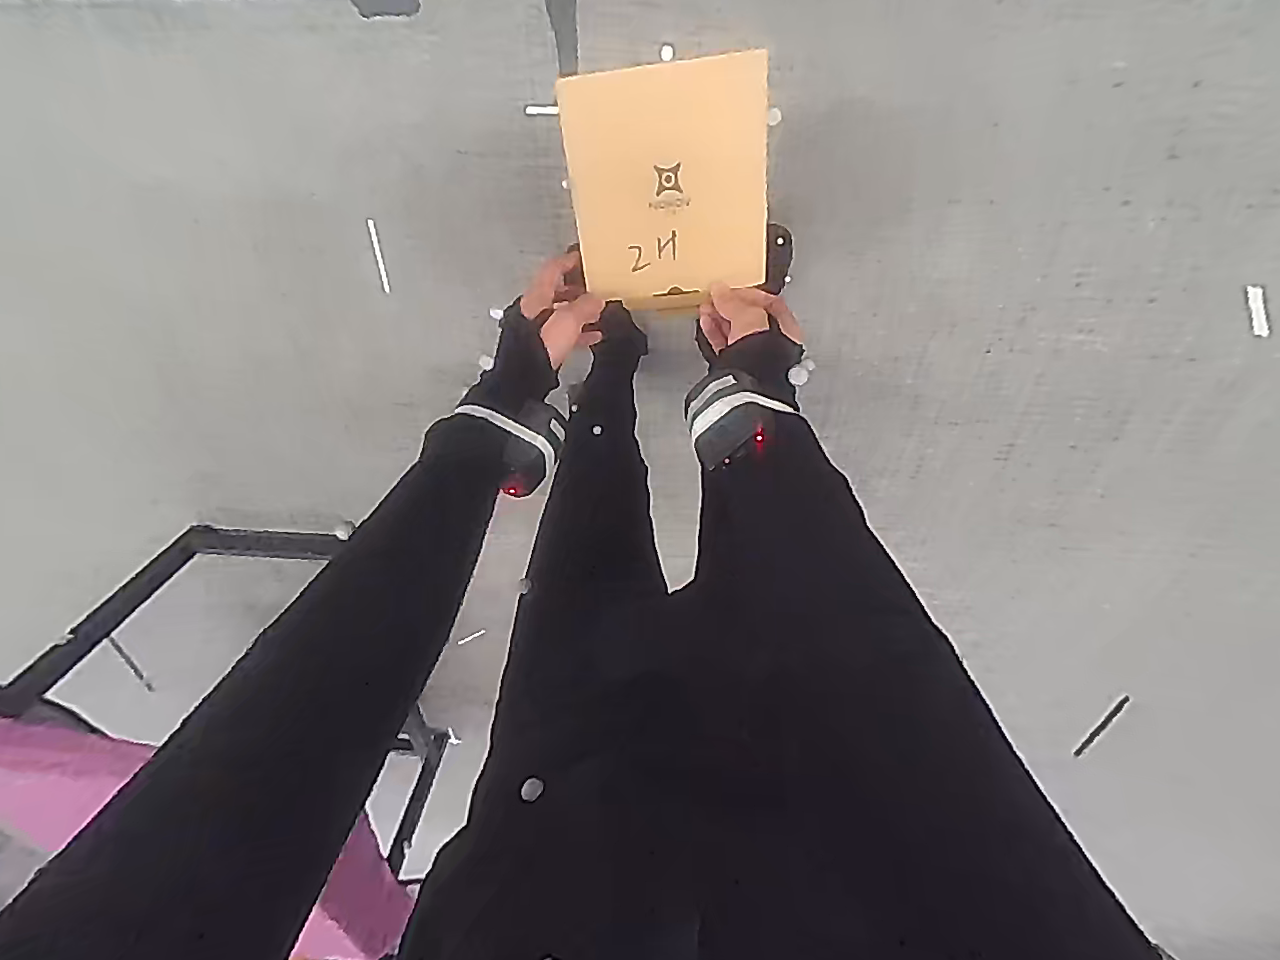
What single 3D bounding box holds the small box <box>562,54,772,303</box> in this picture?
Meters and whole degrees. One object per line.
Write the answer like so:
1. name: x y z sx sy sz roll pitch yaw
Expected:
1. small box: 0.031 -0.289 0.525 0.168 0.176 0.179 -2 125 7
